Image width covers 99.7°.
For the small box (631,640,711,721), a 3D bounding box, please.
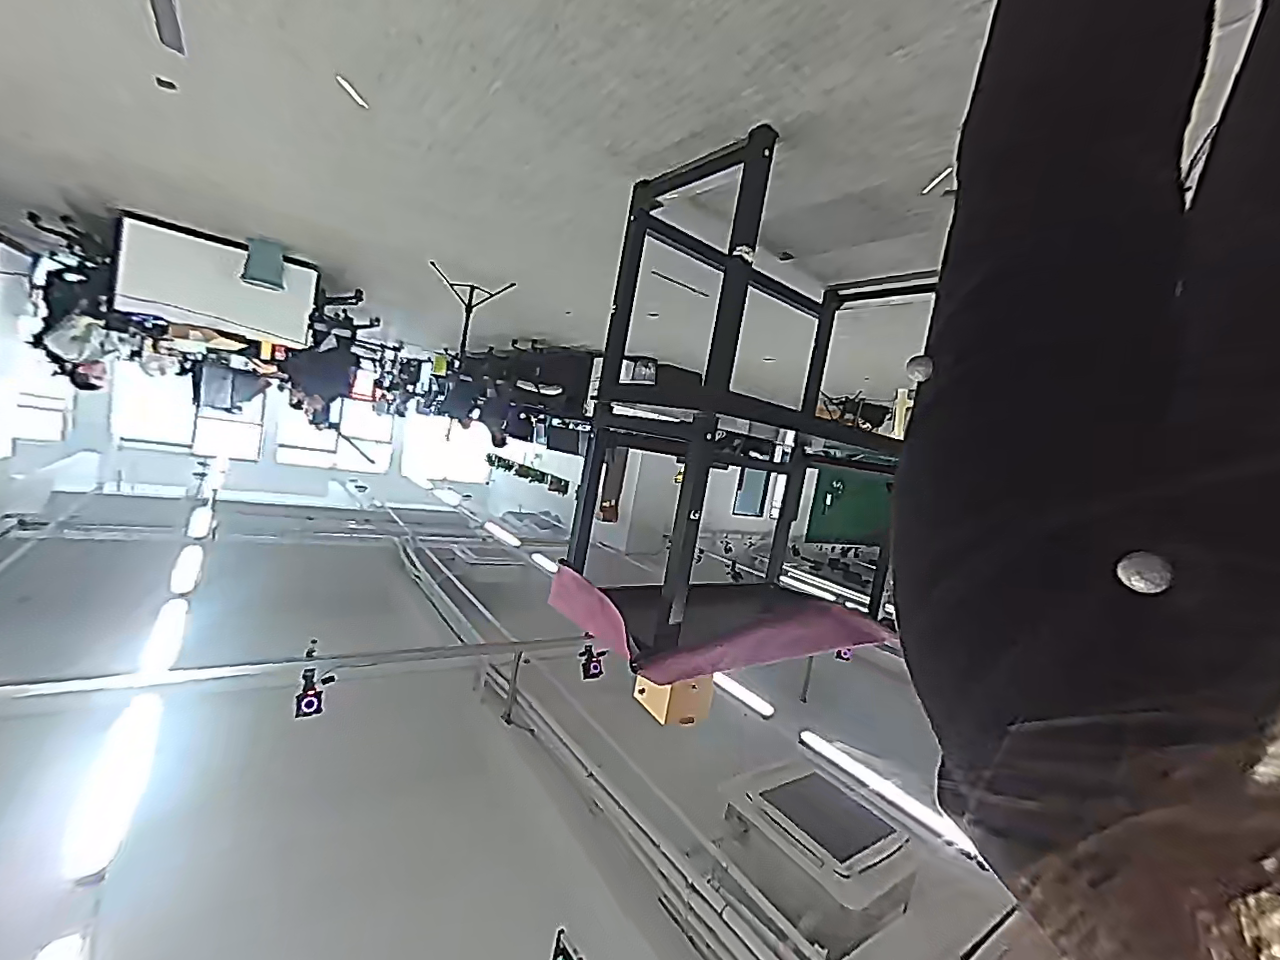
[{"bbox_3d":[0.096,0.603,1.651,0.168,0.176,0.179,6,-173,-32],"label":"small box"}]
